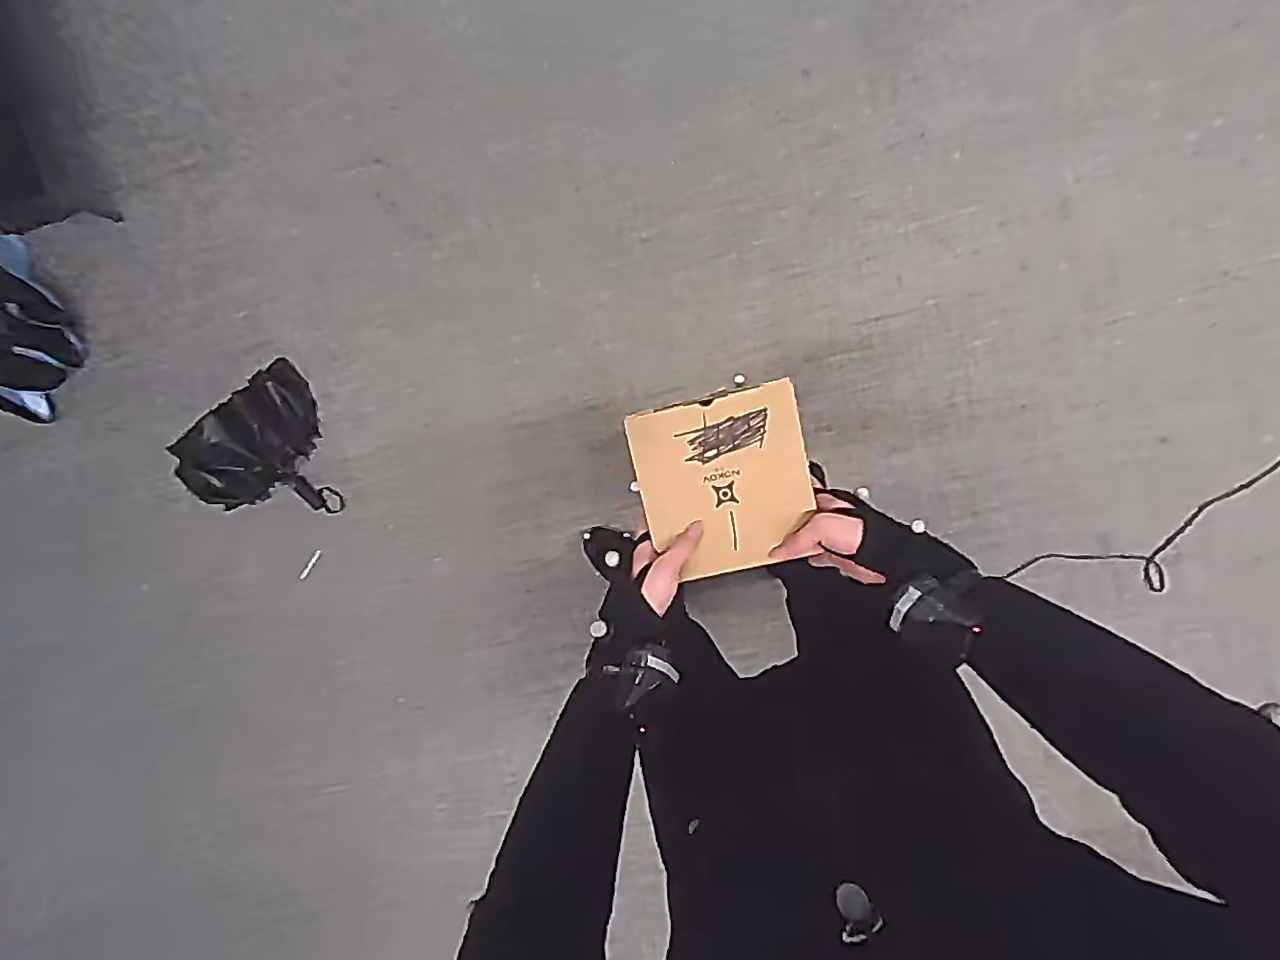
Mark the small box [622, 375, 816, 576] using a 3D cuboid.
[{"bbox_3d":[0.084,-0.013,0.612,0.168,0.176,0.179,-13,99,7],"label":"small box"}]
